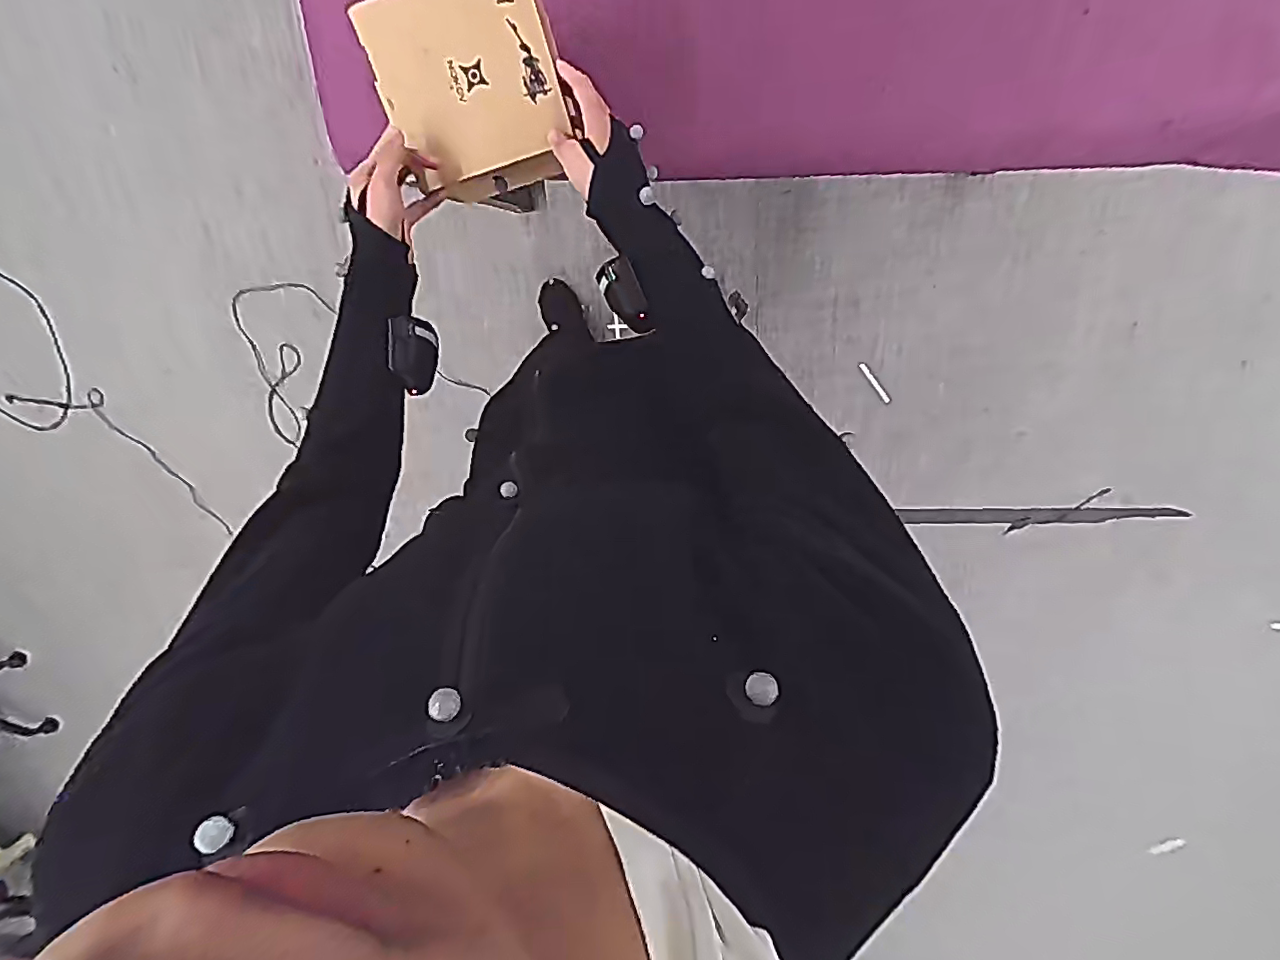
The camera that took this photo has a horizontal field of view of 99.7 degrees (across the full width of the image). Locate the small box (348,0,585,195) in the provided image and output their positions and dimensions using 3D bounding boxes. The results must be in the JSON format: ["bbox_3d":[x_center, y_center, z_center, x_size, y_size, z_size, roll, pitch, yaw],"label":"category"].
[{"bbox_3d":[-0.174,-0.434,0.605,0.179,0.176,0.168,-14,113,7],"label":"small box"}]
